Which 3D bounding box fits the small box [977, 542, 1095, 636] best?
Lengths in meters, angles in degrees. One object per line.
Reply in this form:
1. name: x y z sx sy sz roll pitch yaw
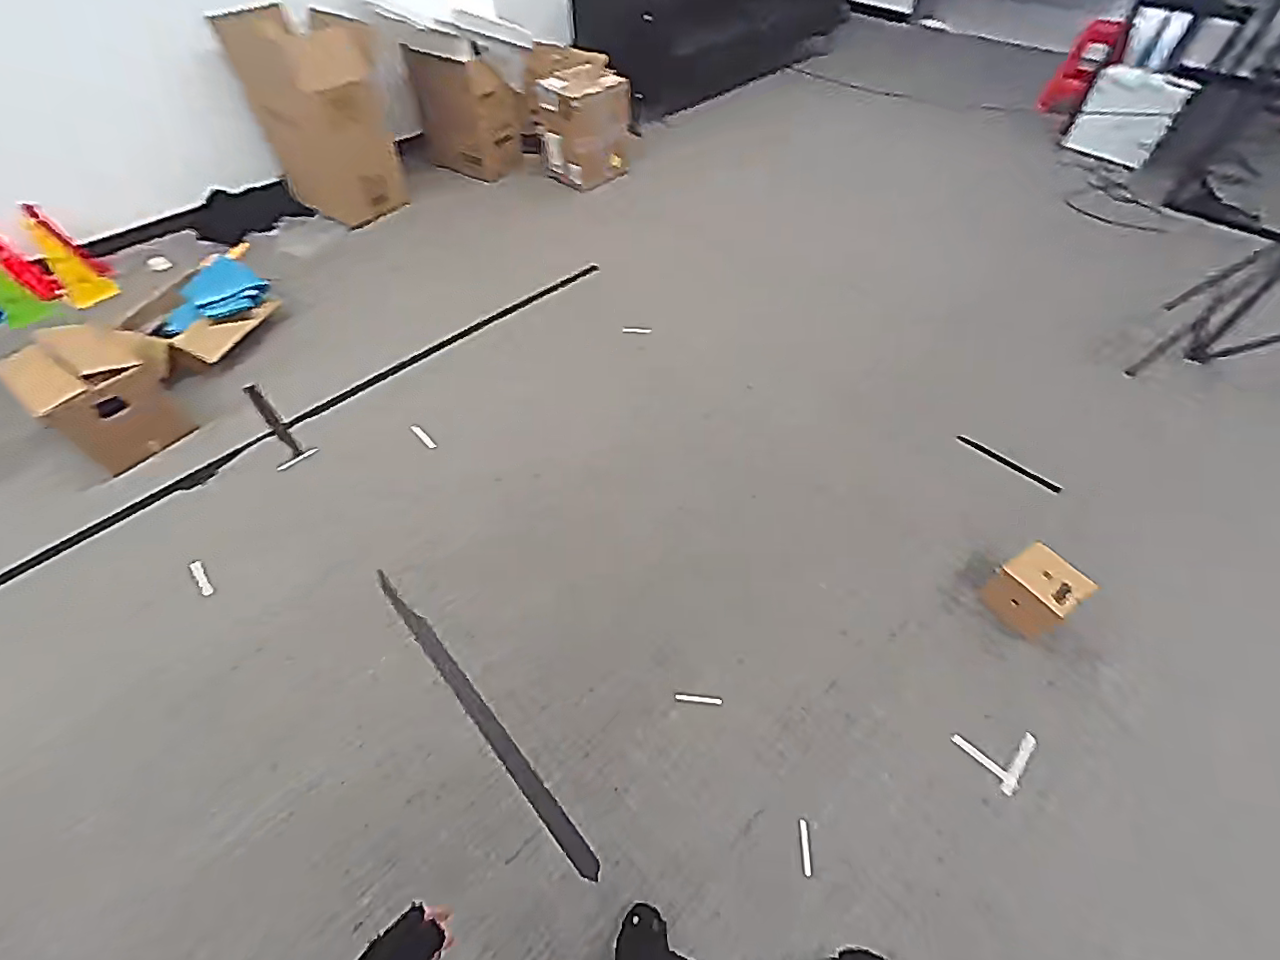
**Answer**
1. small box: 1.109 0.316 1.528 0.168 0.176 0.179 -27 56 -19
